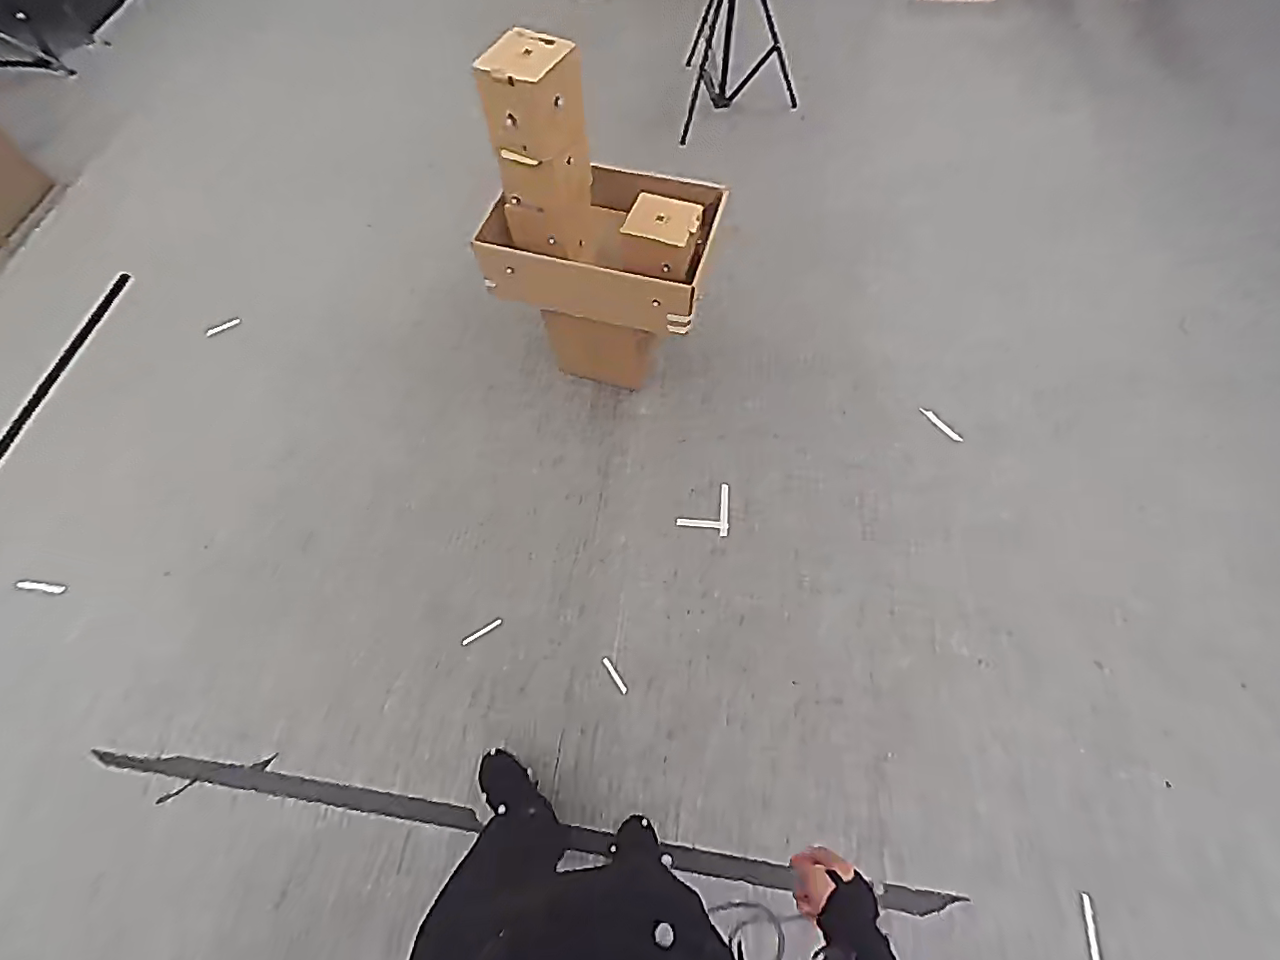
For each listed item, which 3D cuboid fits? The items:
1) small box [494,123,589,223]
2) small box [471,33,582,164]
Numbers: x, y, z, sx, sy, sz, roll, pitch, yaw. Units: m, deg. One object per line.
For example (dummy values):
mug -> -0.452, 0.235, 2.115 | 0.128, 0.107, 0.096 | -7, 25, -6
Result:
small box -> -0.241, -0.793, 1.379 | 0.168, 0.176, 0.179 | 21, 66, 12
small box -> -0.245, -0.860, 1.229 | 0.168, 0.176, 0.179 | 25, 68, 13
